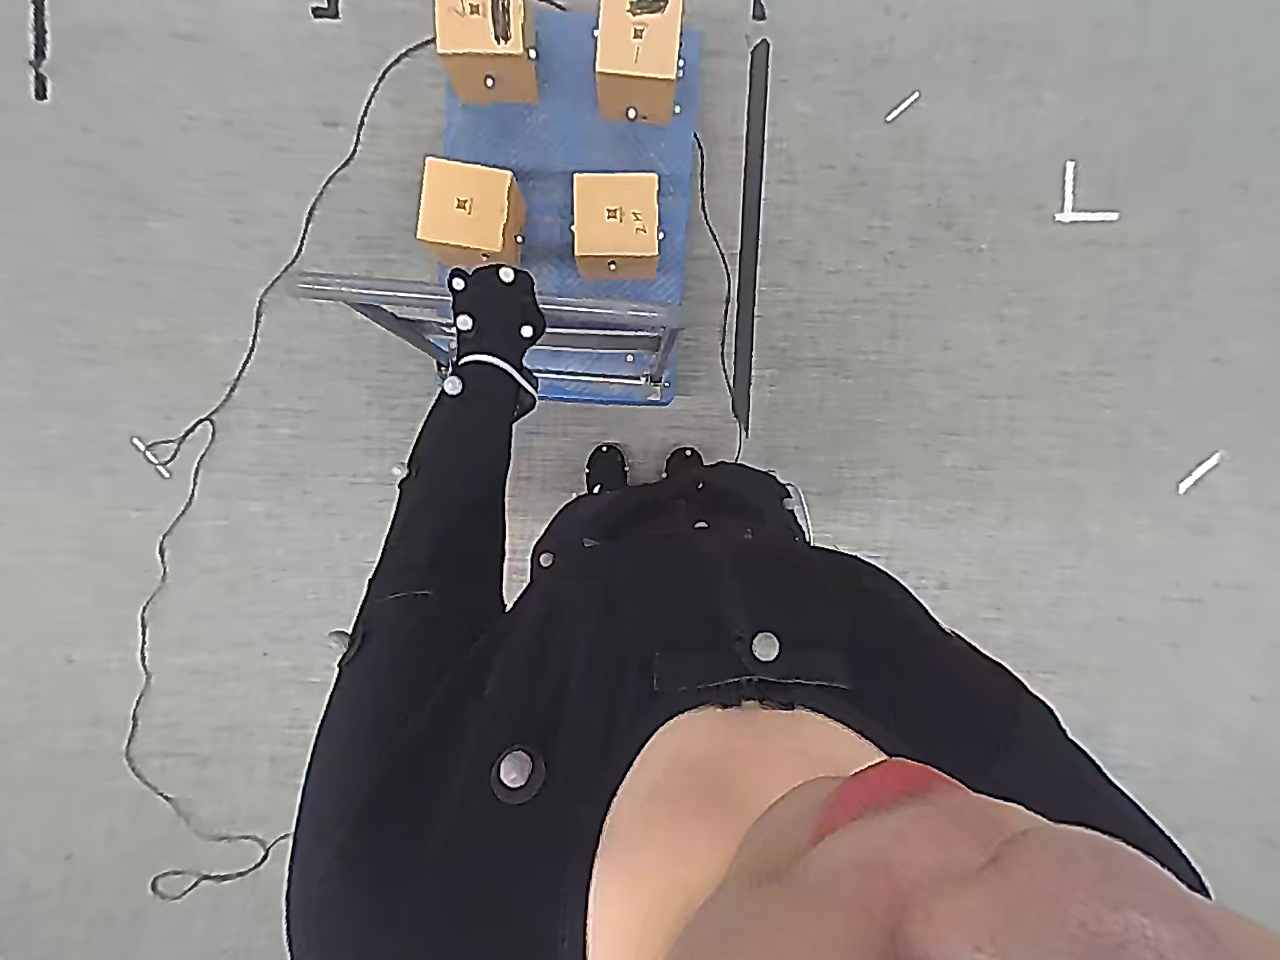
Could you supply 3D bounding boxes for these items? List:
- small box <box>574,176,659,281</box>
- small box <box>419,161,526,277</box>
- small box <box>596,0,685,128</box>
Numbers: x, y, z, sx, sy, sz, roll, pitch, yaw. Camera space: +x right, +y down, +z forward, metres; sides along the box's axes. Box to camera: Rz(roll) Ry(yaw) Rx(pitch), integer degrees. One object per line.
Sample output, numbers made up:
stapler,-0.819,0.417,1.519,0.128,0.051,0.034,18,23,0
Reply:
small box,-0.049,-0.543,1.187,0.179,0.176,0.168,0,94,-1
small box,-0.358,-0.558,1.179,0.179,0.176,0.168,8,94,-3
small box,-0.002,-0.900,1.160,0.168,0.176,0.179,5,95,-2
